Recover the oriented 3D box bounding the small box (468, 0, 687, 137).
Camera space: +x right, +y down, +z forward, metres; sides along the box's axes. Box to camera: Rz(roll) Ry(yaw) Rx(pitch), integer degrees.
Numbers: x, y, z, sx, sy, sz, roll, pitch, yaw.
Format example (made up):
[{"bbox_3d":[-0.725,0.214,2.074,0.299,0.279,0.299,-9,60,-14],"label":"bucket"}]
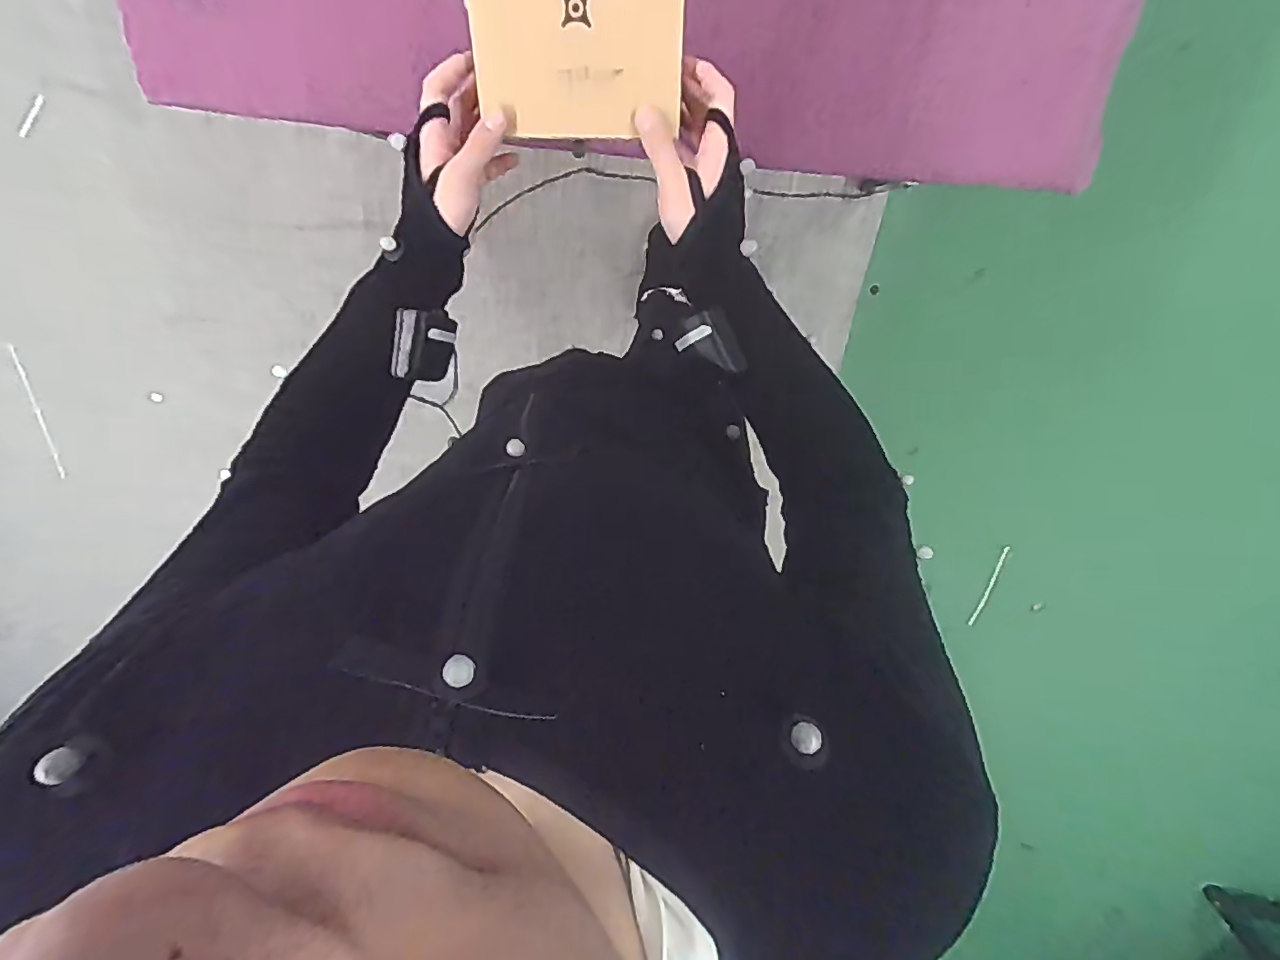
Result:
[{"bbox_3d":[-0.045,-0.403,0.465,0.168,0.176,0.179,2,122,1],"label":"small box"}]
